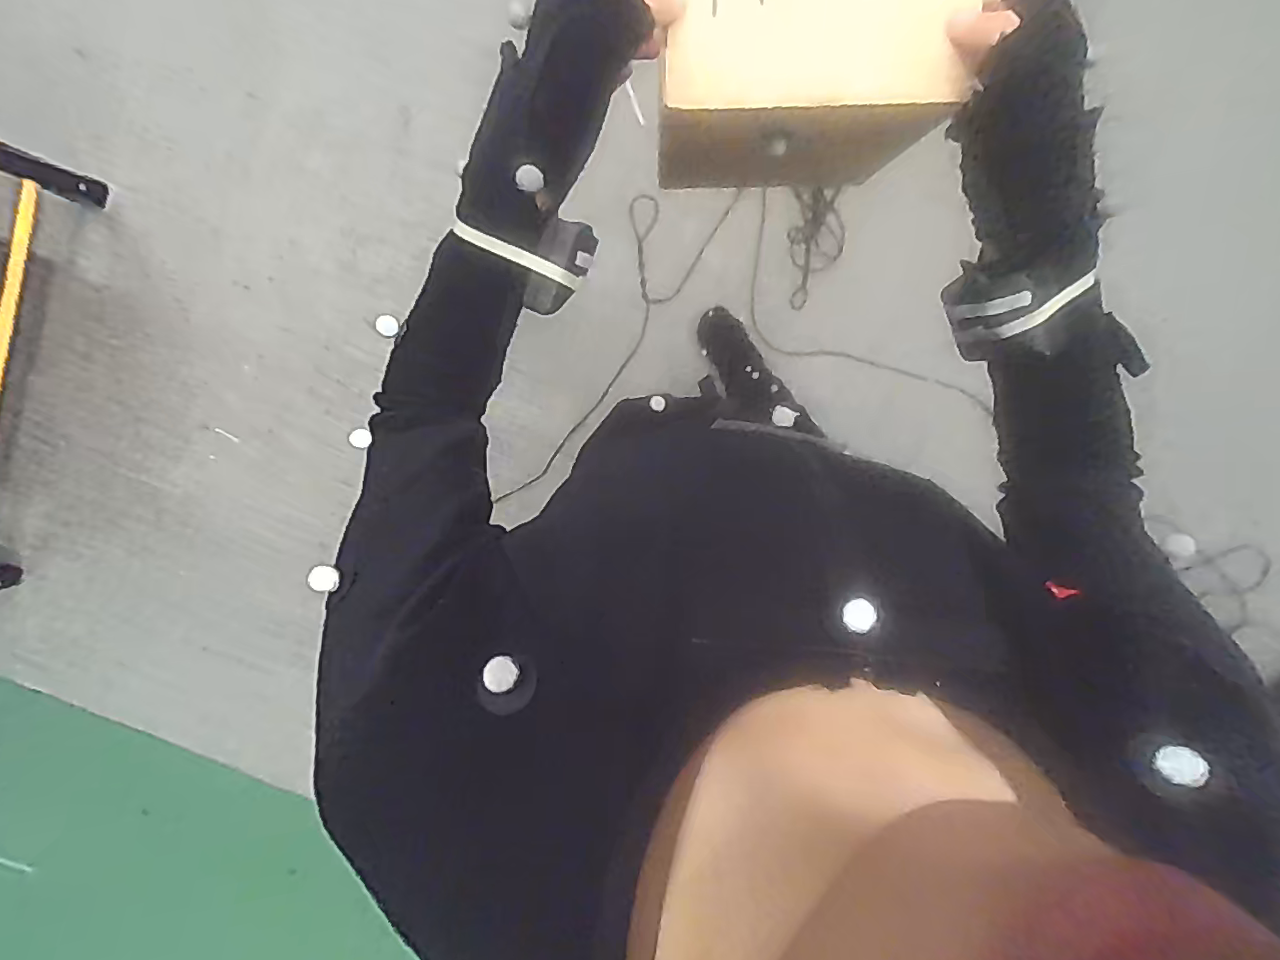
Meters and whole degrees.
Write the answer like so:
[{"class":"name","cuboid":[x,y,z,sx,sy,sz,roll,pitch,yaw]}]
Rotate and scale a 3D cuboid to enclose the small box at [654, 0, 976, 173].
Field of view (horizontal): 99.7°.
[{"class":"small box","cuboid":[0.097,-0.321,0.363,0.179,0.176,0.168,-1,104,1]}]
